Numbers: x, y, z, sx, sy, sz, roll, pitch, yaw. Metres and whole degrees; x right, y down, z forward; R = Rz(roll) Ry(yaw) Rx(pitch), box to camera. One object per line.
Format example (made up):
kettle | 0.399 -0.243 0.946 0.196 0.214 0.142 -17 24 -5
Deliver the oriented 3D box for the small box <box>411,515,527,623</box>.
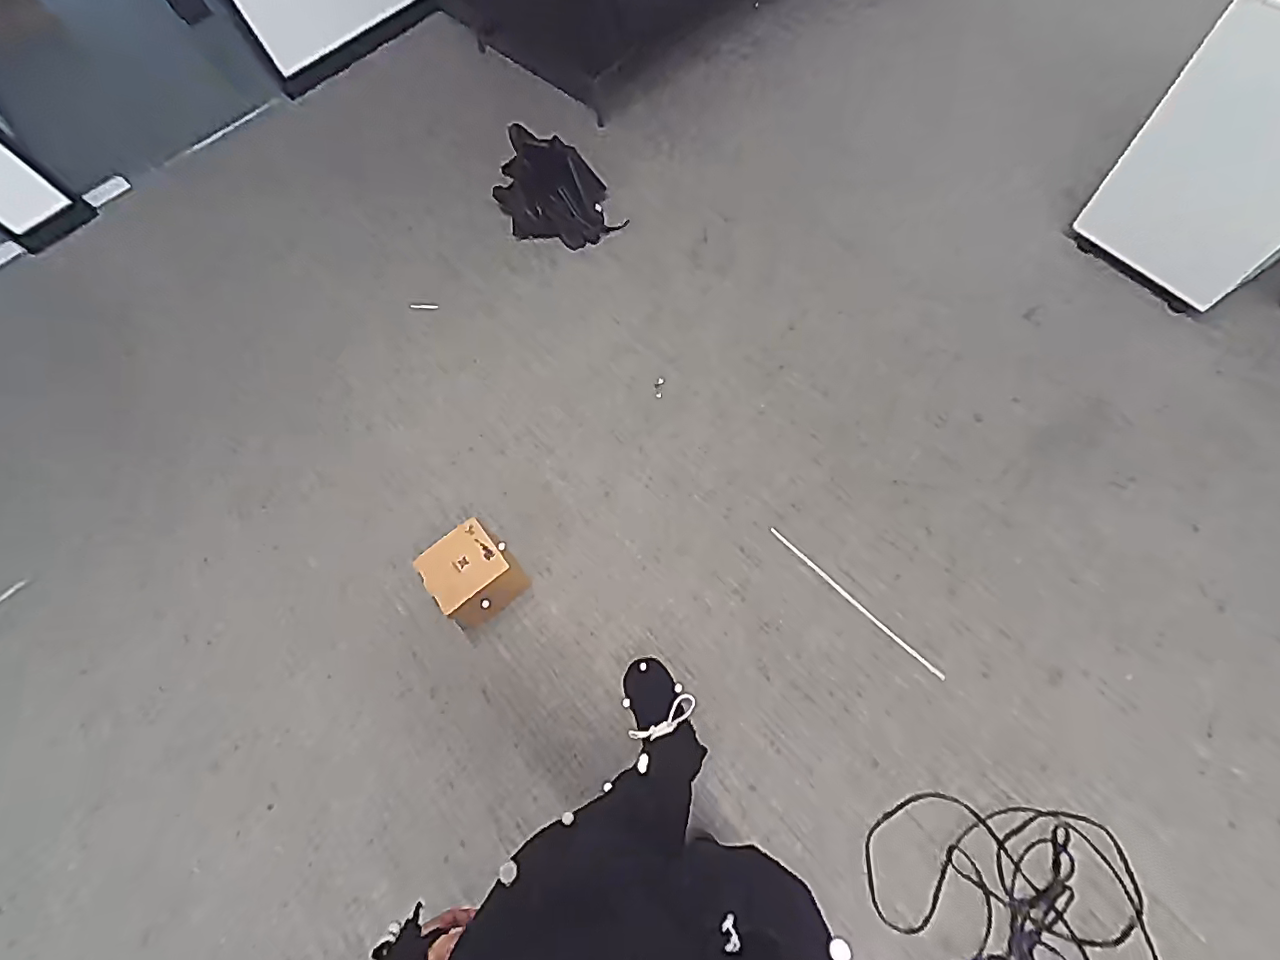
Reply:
small box | -0.400 0.219 1.293 0.179 0.176 0.168 -39 67 -9
